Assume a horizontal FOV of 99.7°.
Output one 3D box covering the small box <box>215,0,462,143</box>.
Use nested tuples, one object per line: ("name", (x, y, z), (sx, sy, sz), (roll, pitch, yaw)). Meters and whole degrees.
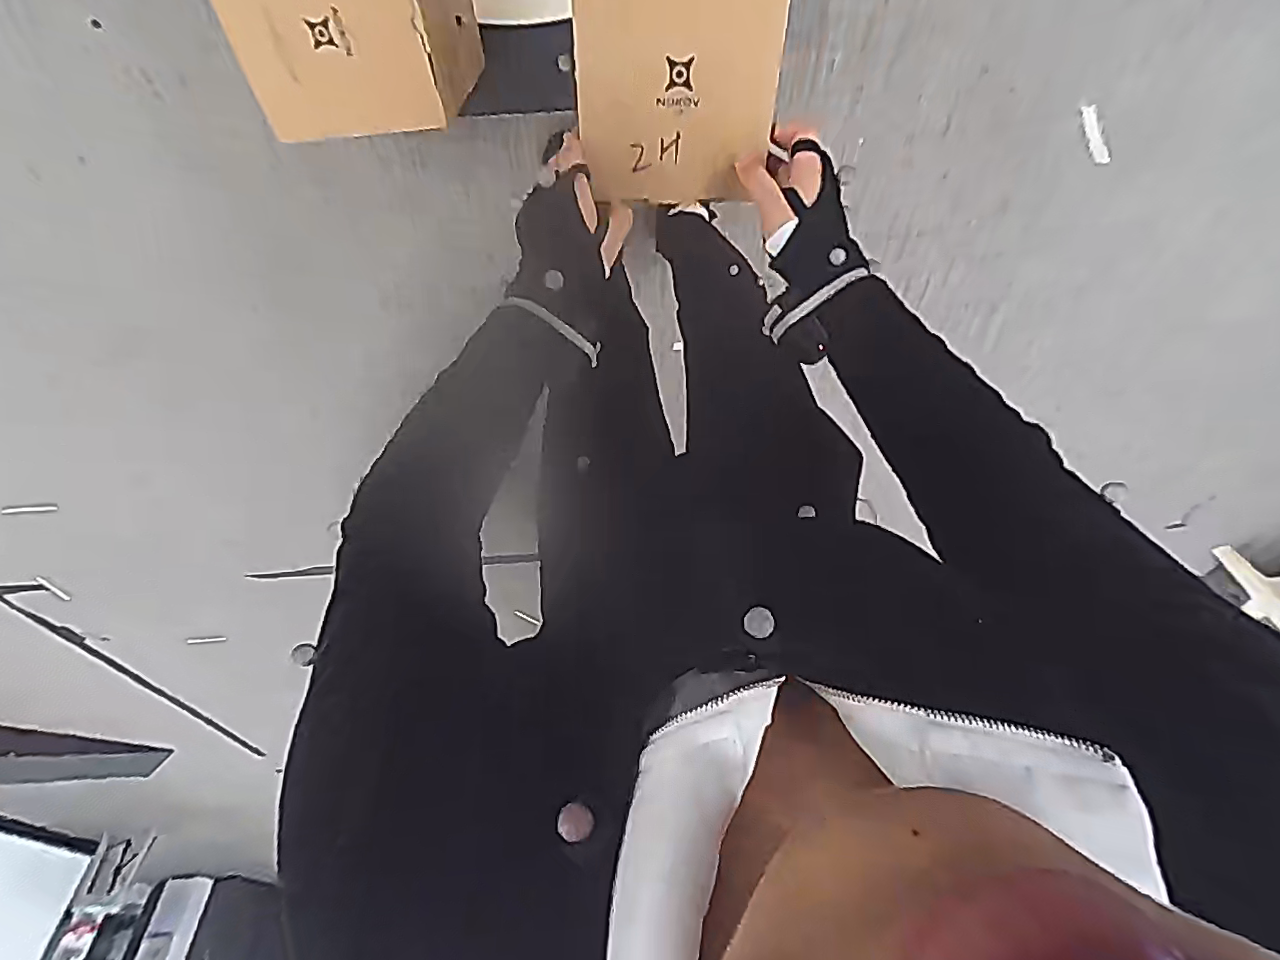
("small box", (-0.292, -0.467, 0.550), (0.179, 0.176, 0.168), (-7, 136, 0))

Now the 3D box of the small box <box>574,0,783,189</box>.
("small box", (0.024, -0.392, 0.504), (0.168, 0.176, 0.179), (-1, 135, -2))

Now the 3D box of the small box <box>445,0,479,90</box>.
("small box", (-0.305, -0.587, 0.662), (0.179, 0.176, 0.168), (-6, 137, 0))

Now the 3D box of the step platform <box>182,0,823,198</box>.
("step platform", (-0.142, -0.549, 0.668), (0.684, 0.204, 0.286), (-5, 136, -2))
